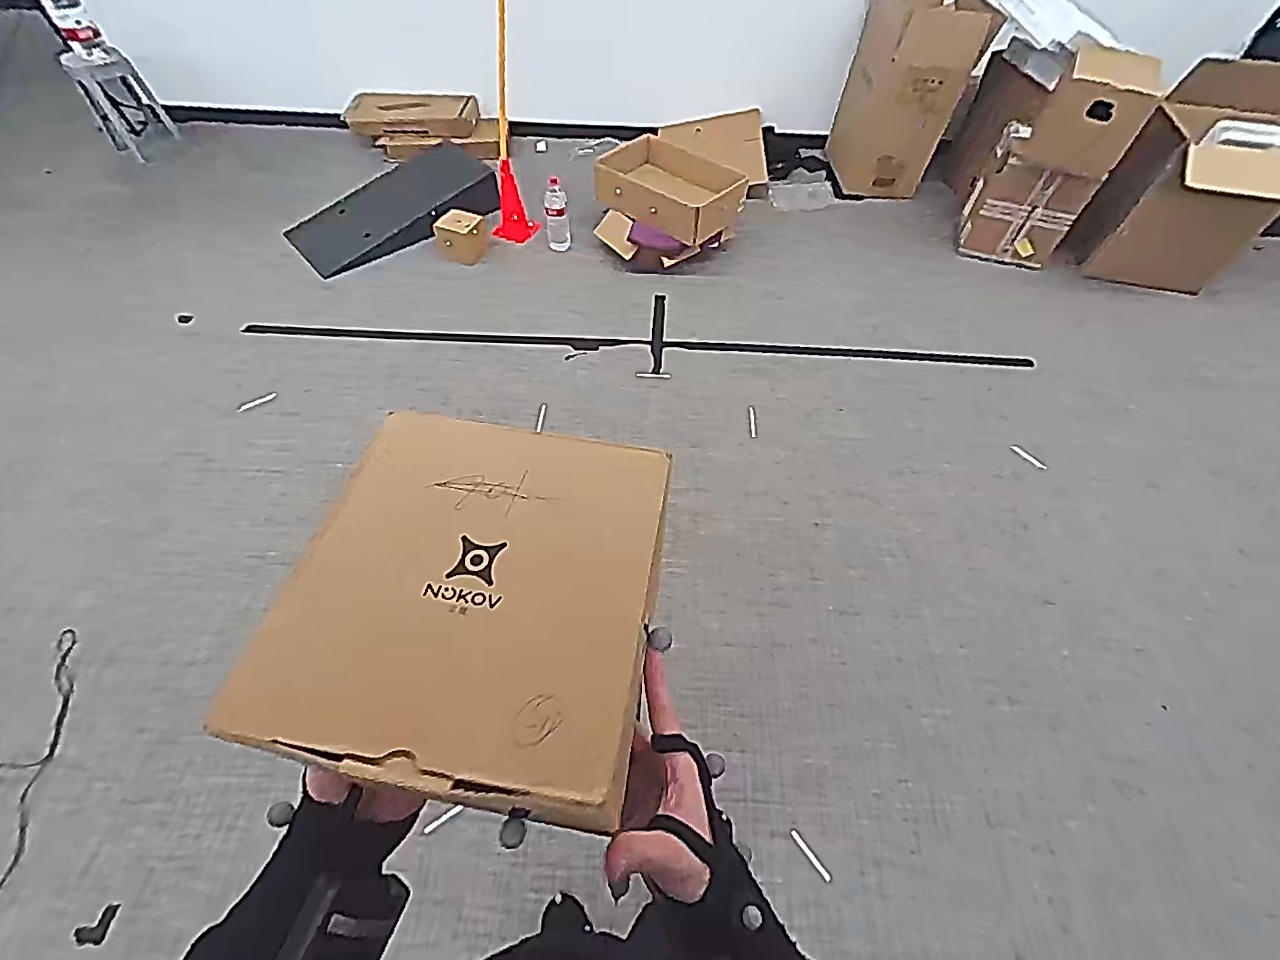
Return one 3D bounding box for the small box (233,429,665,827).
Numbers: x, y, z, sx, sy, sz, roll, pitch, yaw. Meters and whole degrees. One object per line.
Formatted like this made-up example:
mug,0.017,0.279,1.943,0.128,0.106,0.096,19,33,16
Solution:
small box,-0.079,0.096,0.331,0.168,0.176,0.179,8,53,3
